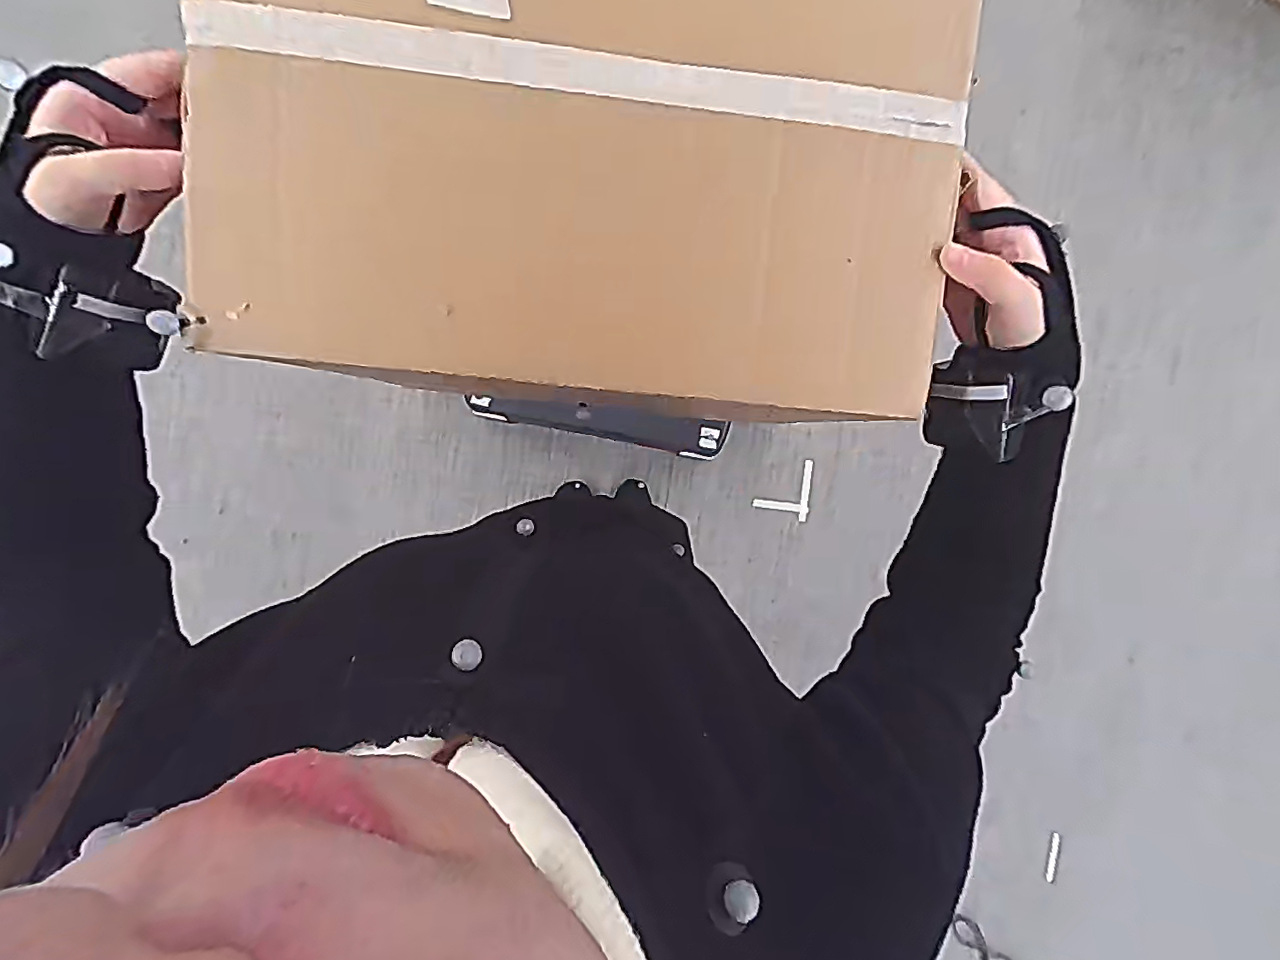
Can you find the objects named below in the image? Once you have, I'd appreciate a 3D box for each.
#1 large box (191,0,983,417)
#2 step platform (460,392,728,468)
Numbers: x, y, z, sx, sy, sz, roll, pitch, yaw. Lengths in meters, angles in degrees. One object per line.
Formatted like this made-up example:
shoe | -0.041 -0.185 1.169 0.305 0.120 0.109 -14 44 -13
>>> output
large box | -0.028 -0.218 0.428 0.408 0.320 0.320 5 95 -3
step platform | -0.107 -0.248 1.398 0.684 0.204 0.286 16 90 -1
